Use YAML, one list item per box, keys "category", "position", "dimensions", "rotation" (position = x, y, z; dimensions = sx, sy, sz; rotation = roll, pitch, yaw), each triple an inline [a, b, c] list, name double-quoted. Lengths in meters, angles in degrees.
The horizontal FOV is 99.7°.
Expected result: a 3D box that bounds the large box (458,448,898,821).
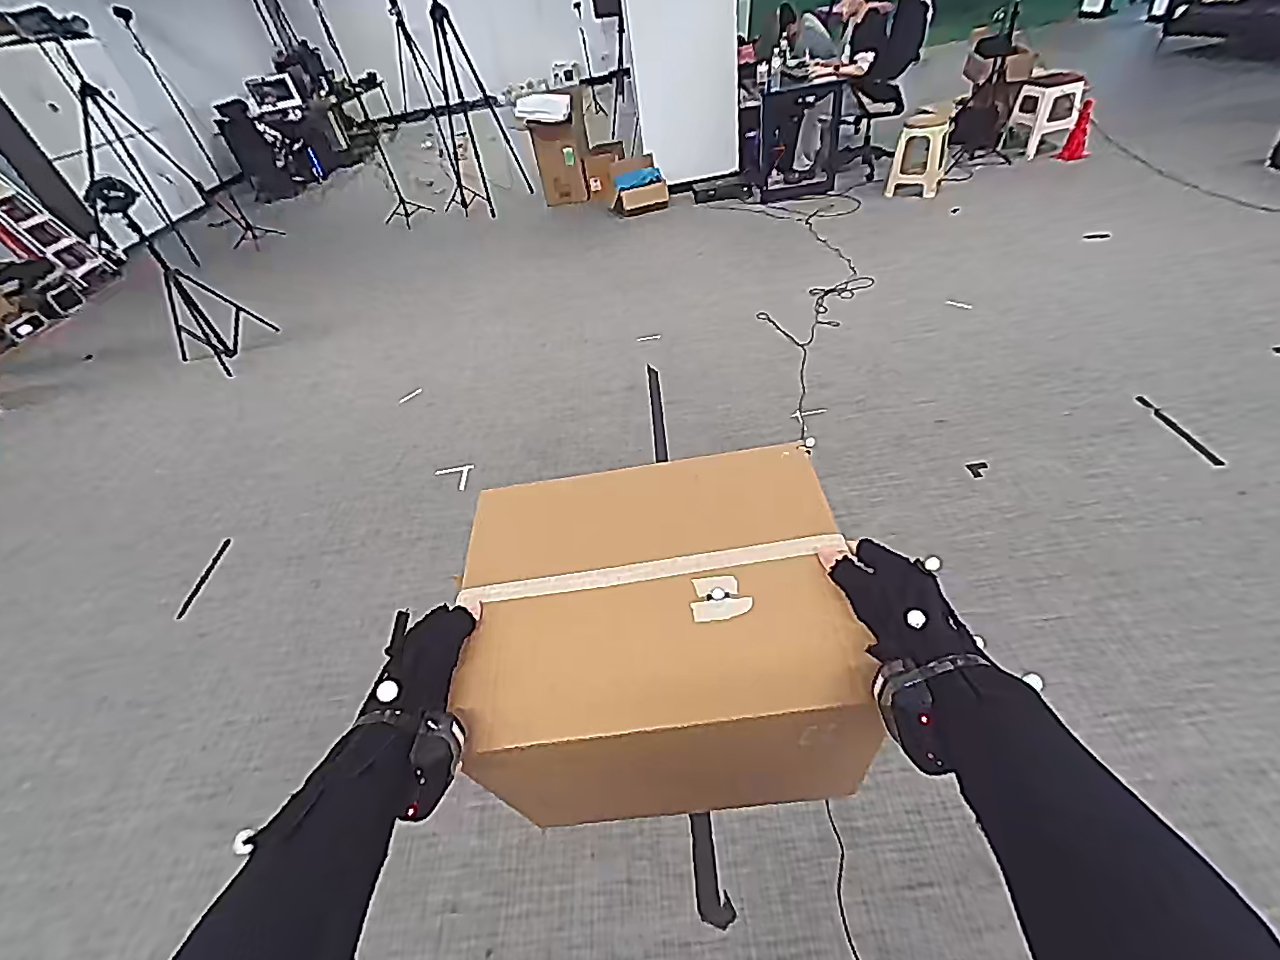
- category: "large box"
  position: [0.037, 0.200, 0.683]
  dimensions: [0.408, 0.320, 0.320]
  rotation: [-8, 47, 3]
